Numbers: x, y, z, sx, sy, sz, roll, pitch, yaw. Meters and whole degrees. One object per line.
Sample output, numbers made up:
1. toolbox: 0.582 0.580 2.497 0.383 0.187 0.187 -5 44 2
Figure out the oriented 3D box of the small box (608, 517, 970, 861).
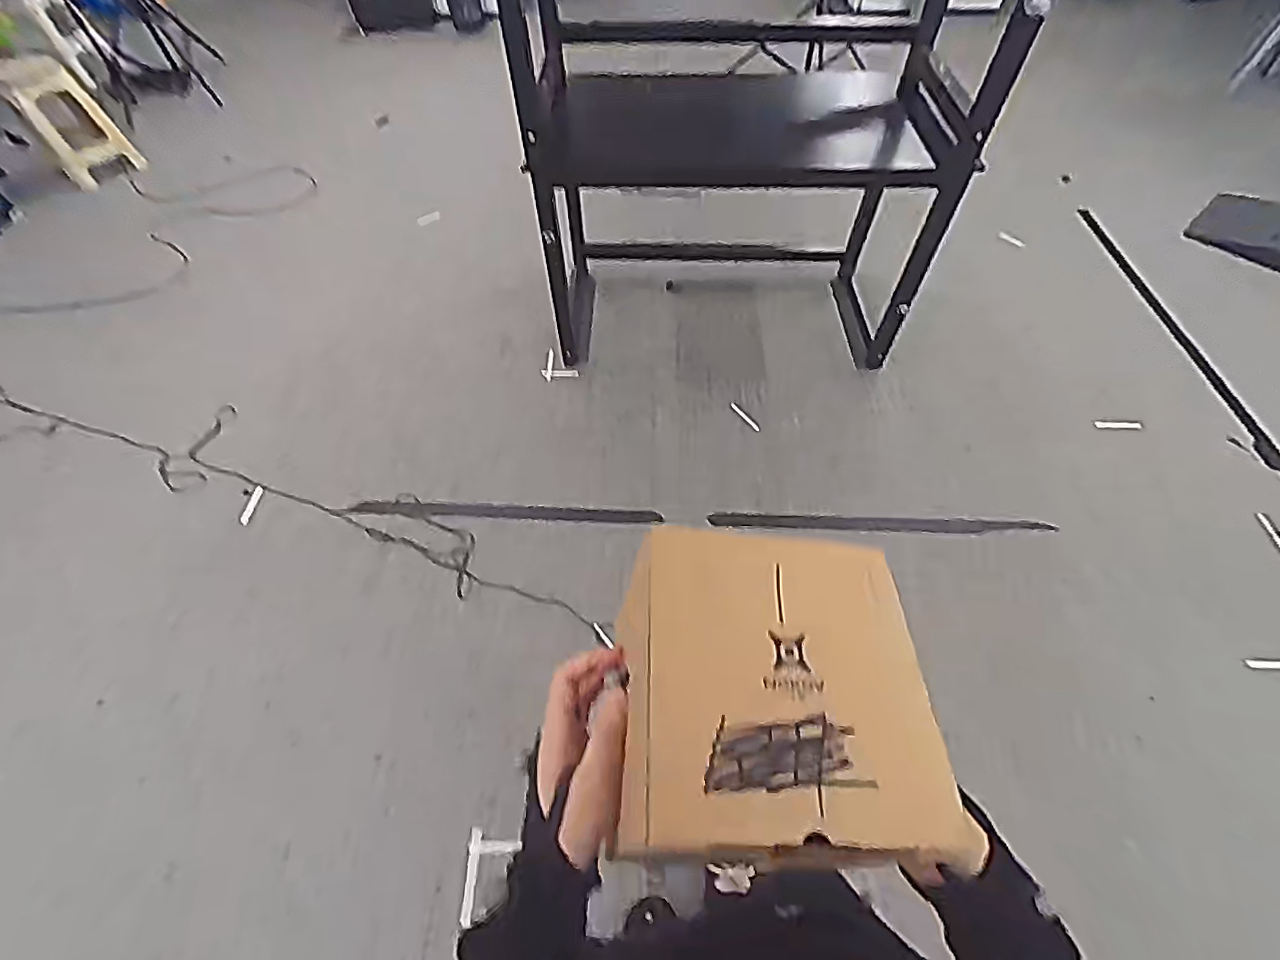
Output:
1. small box: 0.072 0.150 0.369 0.168 0.176 0.179 7 52 -8
